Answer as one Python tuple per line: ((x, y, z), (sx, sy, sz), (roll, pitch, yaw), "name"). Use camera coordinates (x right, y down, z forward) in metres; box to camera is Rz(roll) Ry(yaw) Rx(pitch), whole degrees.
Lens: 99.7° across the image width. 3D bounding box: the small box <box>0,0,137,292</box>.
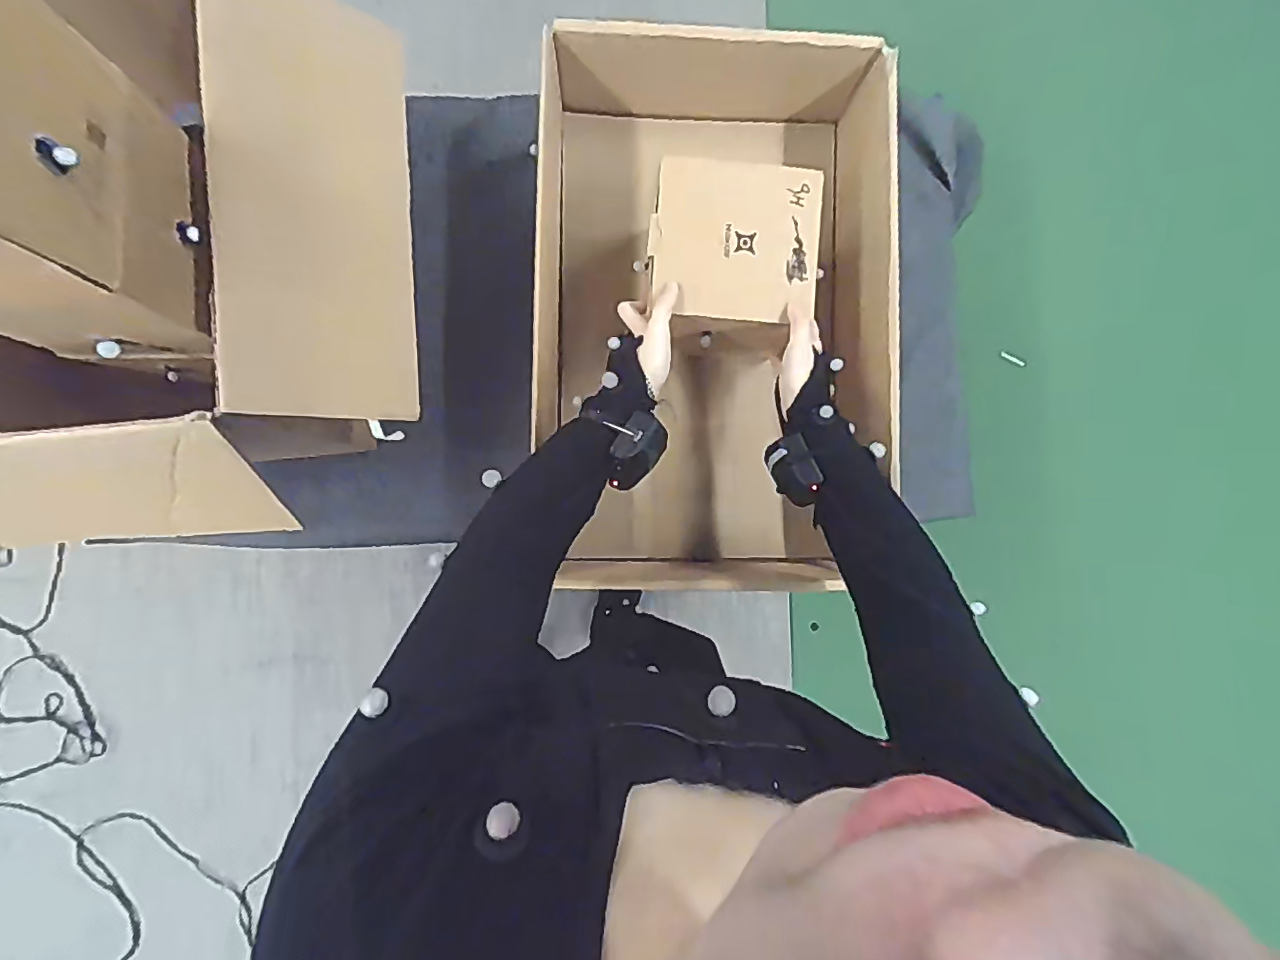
((-0.453, -0.221, 0.310), (0.179, 0.176, 0.168), (-1, 86, -8), "small box")
